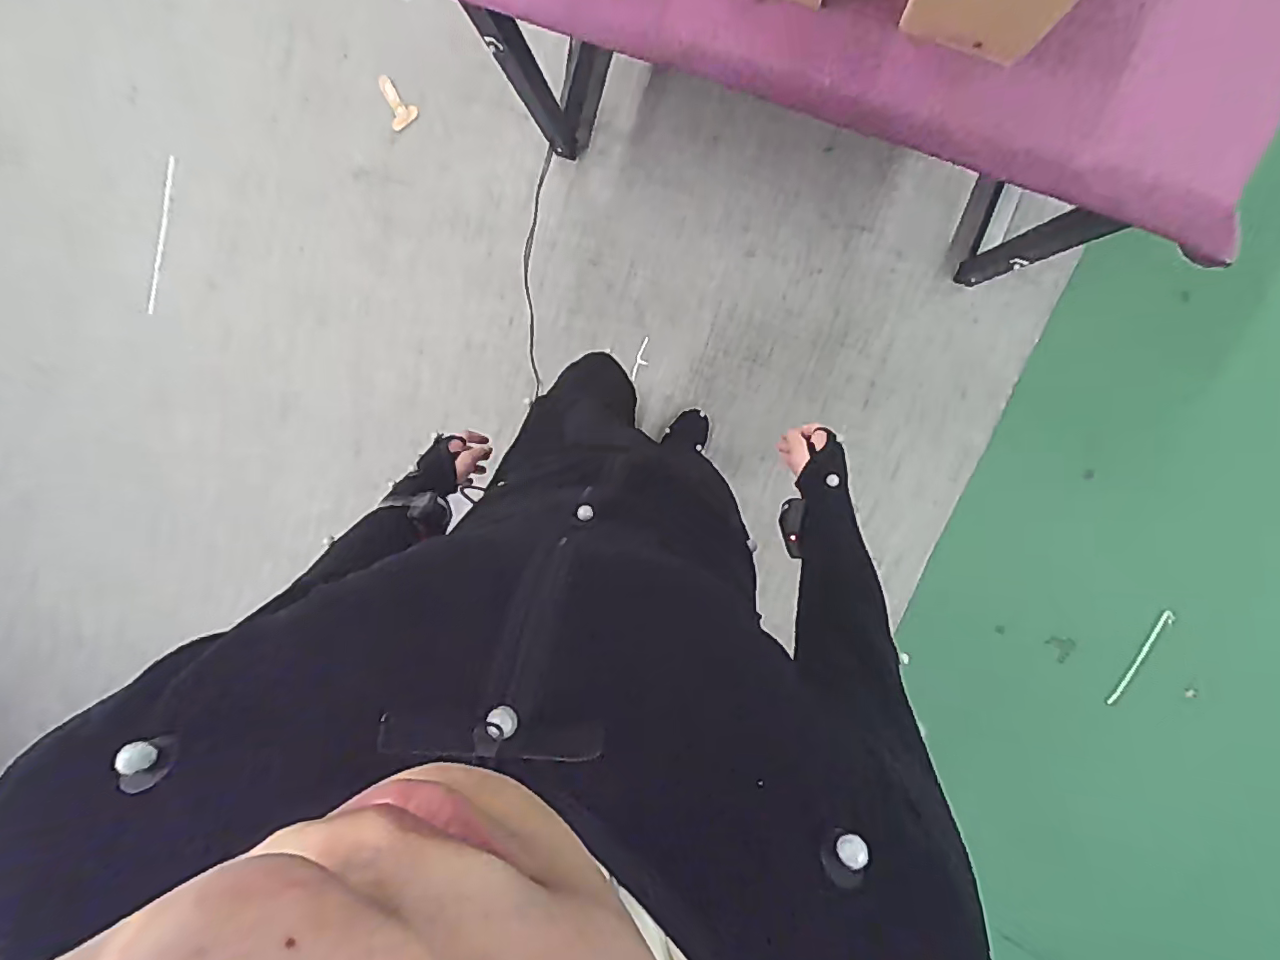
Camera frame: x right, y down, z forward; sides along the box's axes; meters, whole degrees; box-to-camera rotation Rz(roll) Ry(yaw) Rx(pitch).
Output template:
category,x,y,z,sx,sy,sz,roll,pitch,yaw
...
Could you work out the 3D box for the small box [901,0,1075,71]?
category,x,y,z,sx,sy,sz,roll,pitch,yaw
small box,0.441,-0.645,0.640,0.168,0.176,0.179,21,101,4
